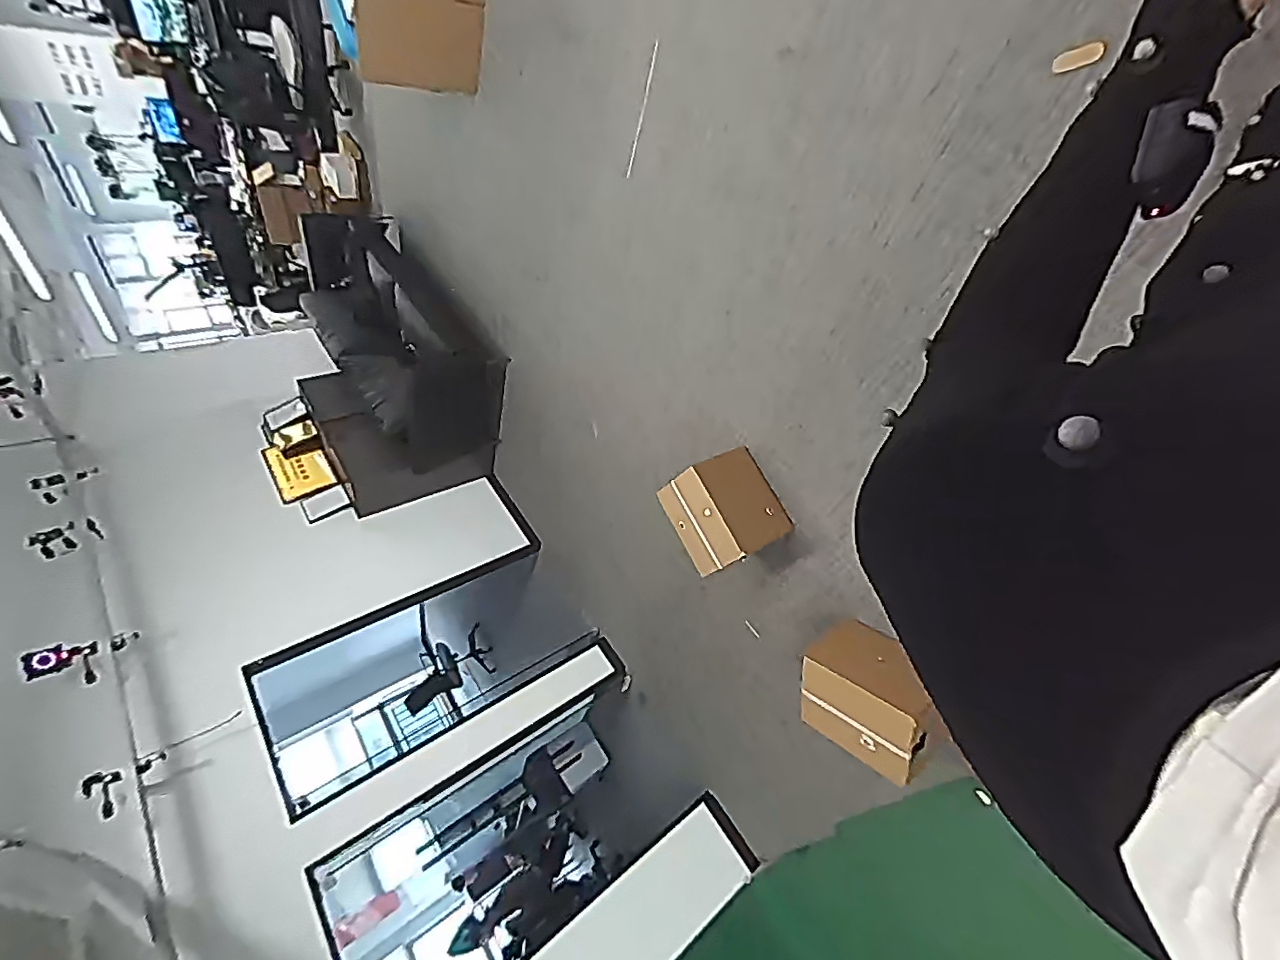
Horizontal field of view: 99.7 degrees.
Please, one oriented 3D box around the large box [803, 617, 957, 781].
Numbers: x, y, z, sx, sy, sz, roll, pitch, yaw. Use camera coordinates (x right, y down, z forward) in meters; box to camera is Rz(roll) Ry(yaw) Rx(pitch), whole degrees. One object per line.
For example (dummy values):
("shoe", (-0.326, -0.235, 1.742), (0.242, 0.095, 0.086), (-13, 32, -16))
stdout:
("large box", (0.844, 0.756, 1.938), (0.408, 0.320, 0.320), (20, 124, 46))
